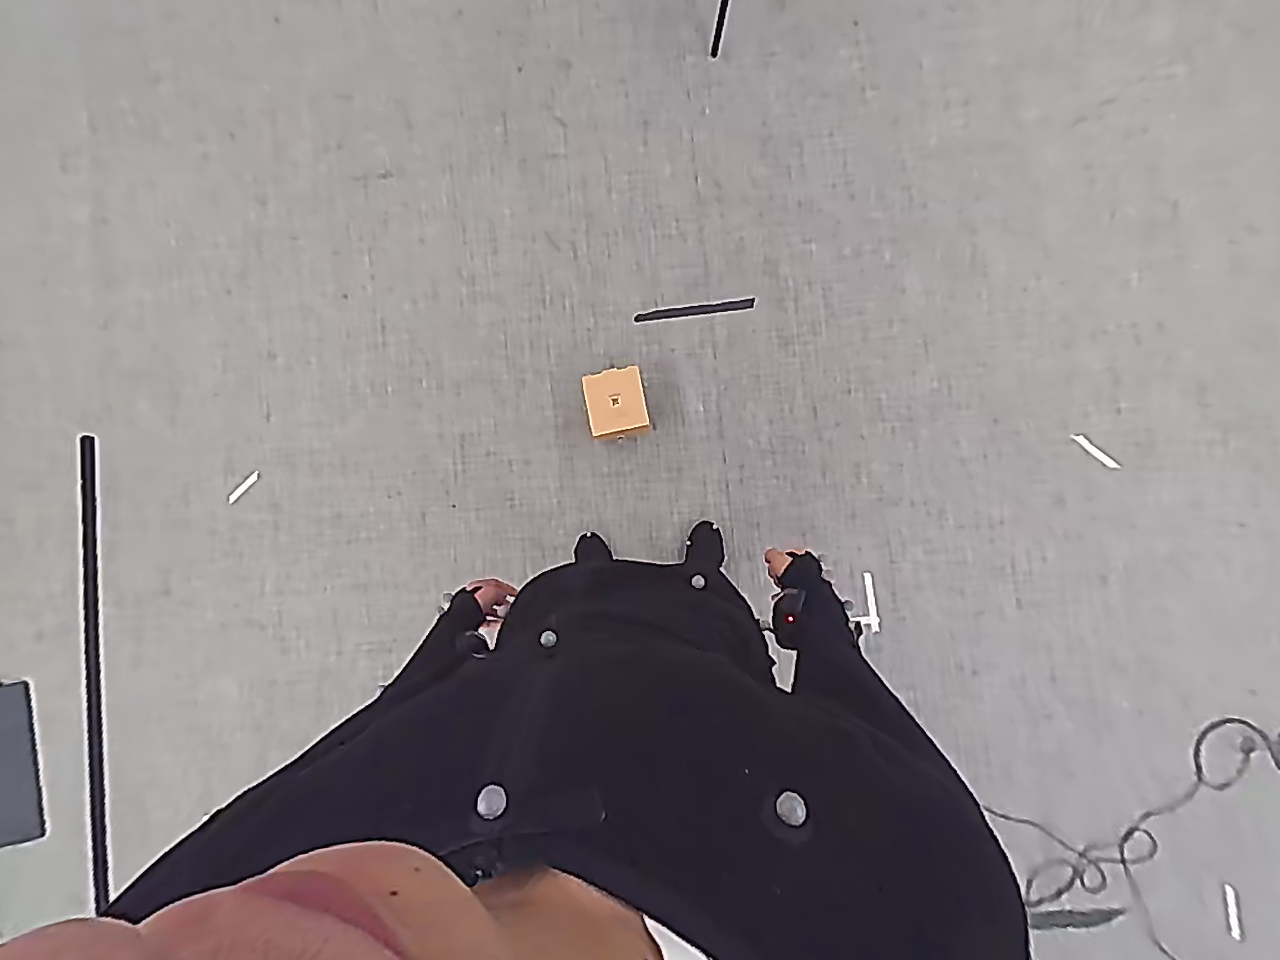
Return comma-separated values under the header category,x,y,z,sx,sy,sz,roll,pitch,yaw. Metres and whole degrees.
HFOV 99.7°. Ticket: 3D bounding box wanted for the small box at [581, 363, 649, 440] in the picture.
category,x,y,z,sx,sy,sz,roll,pitch,yaw
small box,-0.069,-0.226,1.592,0.168,0.176,0.179,-11,87,3
